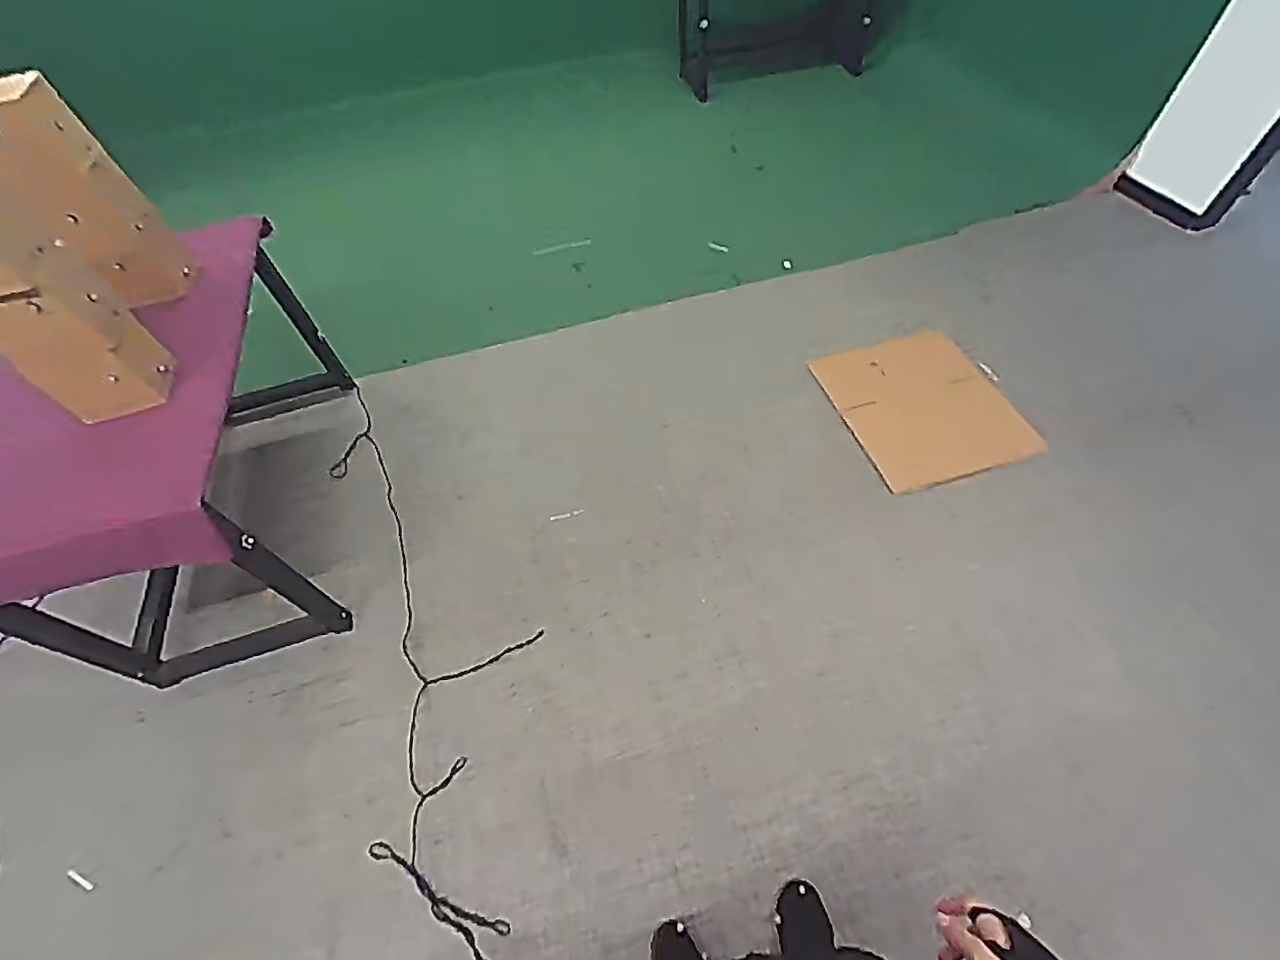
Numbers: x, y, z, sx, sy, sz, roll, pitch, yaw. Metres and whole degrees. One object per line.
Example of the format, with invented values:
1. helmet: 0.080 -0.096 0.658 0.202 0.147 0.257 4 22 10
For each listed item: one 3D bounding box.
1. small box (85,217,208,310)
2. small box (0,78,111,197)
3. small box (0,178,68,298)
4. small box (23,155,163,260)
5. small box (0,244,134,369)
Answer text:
1. small box: -1.389 -0.609 1.534 0.179 0.176 0.168 -15 56 -5
2. small box: -1.417 -0.802 1.273 0.179 0.176 0.168 -18 57 -5
3. small box: -1.247 -0.445 0.998 0.179 0.176 0.168 -15 55 -6
4. small box: -1.399 -0.702 1.400 0.179 0.176 0.168 -16 56 -4
5. small box: -1.236 -0.363 1.141 0.179 0.176 0.168 -18 54 -8
